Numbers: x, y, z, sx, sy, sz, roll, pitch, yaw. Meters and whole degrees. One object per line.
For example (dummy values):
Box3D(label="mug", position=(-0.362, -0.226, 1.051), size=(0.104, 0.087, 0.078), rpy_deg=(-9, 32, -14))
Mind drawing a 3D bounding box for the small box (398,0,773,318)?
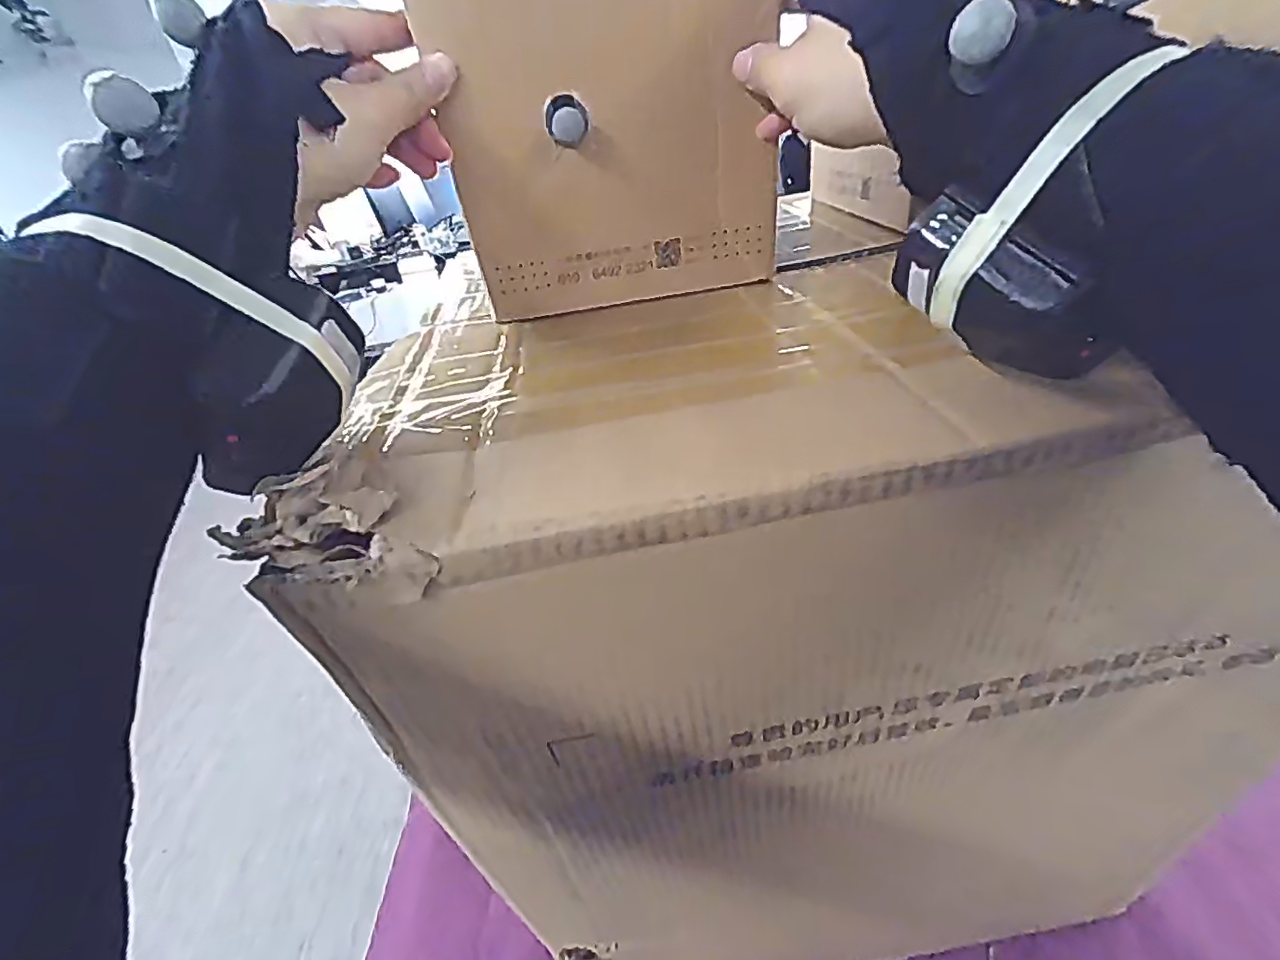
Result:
Box3D(label="small box", position=(-0.020, -0.210, 0.331), size=(0.168, 0.176, 0.179), rpy_deg=(-11, 37, -1))

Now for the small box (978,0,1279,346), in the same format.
Box3D(label="small box", position=(0.256, -0.163, 0.194), size=(0.179, 0.176, 0.168), rpy_deg=(-13, 35, -1))
